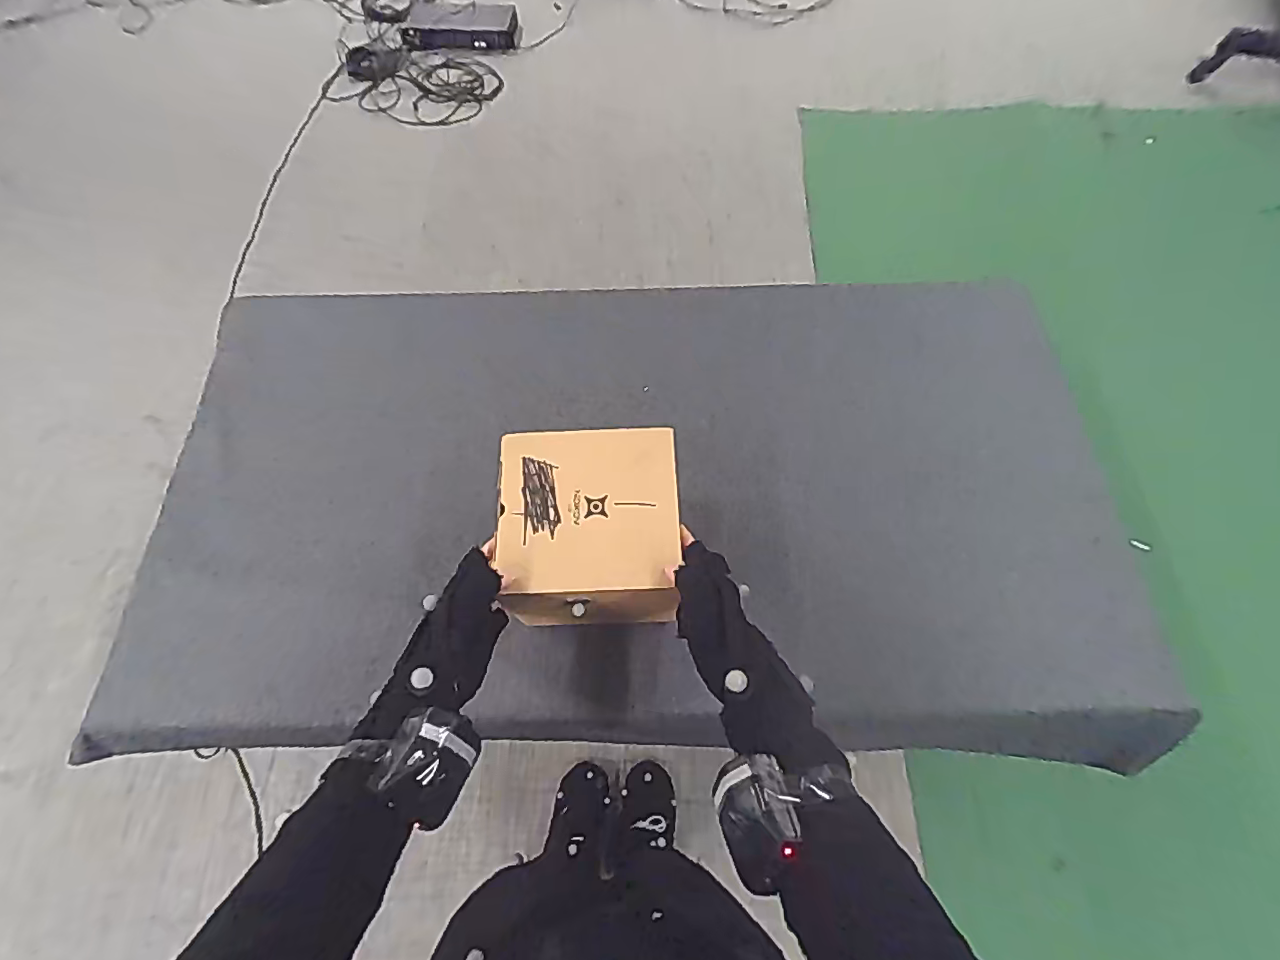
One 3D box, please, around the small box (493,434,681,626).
[{"bbox_3d":[-0.049,0.063,0.597,0.179,0.176,0.168,-2,65,0],"label":"small box"}]
